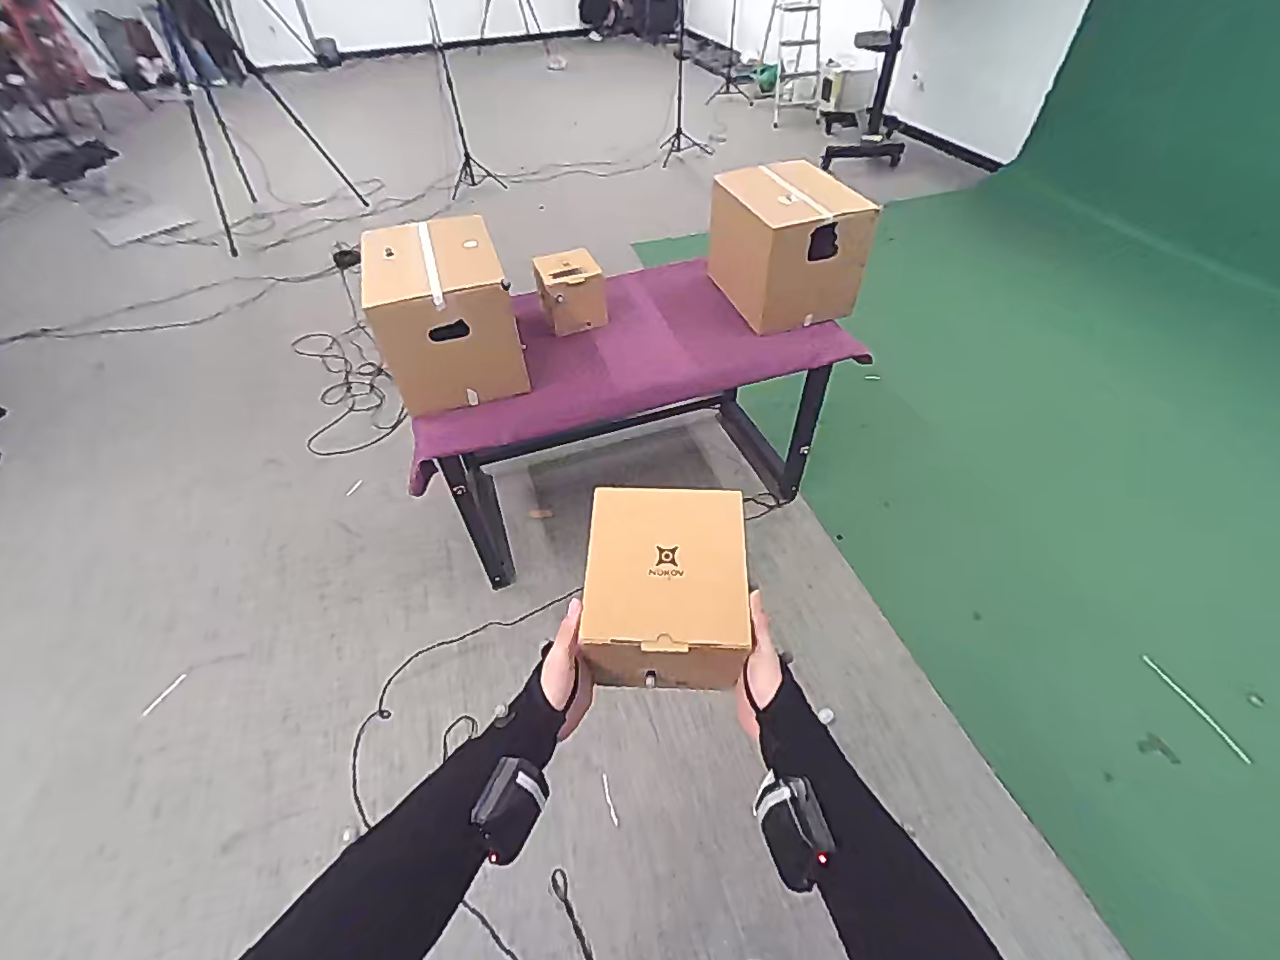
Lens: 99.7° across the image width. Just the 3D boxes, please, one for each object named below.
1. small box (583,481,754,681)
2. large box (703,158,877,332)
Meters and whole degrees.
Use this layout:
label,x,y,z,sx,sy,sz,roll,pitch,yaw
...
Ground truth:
label,x,y,z,sx,sy,sz,roll,pitch,yaw
small box,0.029,0.120,0.622,0.168,0.176,0.179,1,58,1
large box,0.409,-0.700,1.600,0.320,0.320,0.408,-16,50,-10
